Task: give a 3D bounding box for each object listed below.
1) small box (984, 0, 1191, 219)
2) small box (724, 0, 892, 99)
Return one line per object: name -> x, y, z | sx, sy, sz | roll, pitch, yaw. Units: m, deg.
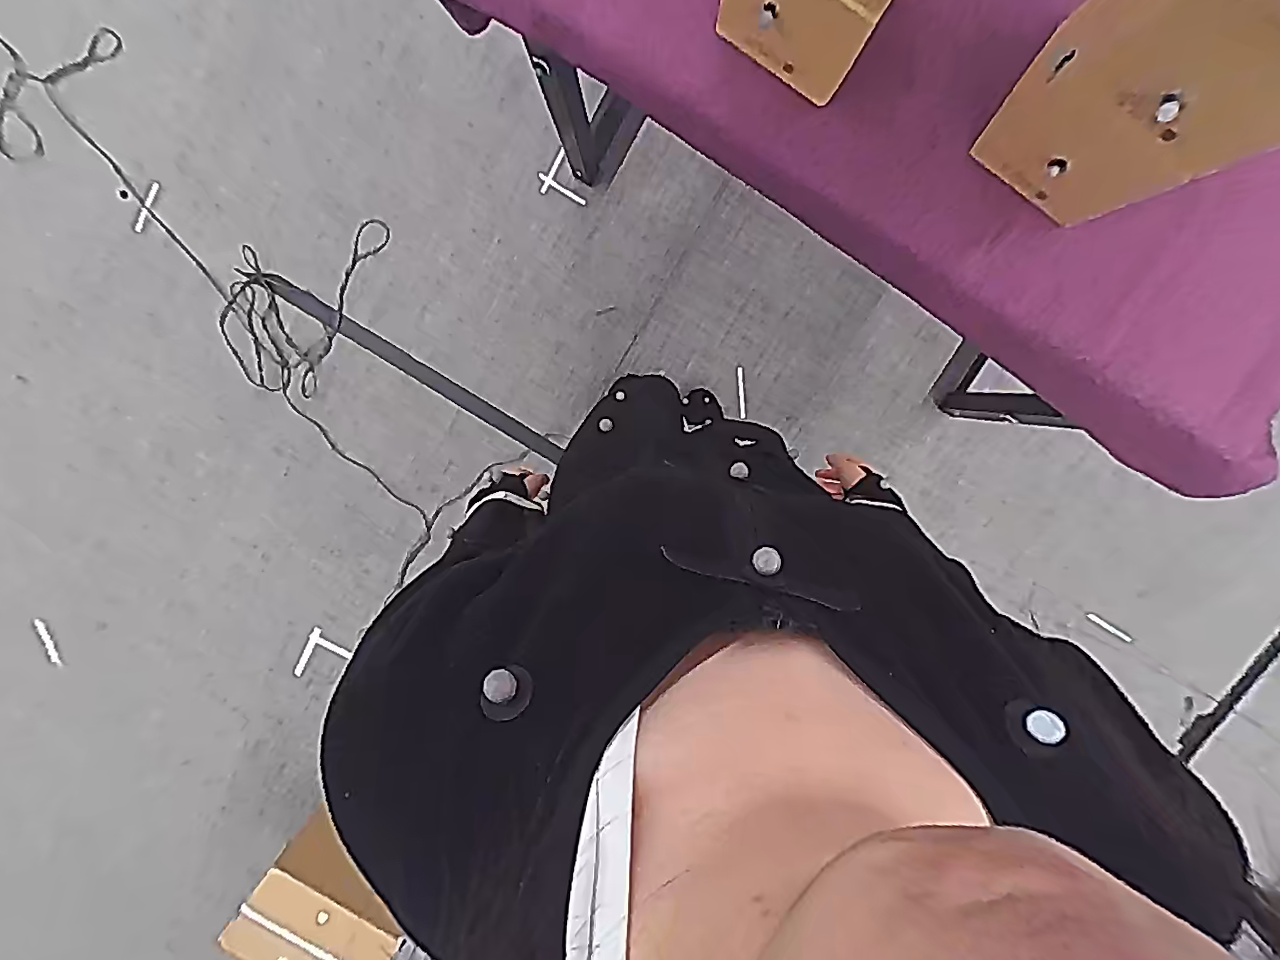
small box -> 0.532, -0.429, 0.604 | 0.168, 0.176, 0.179 | 34, 98, -5
small box -> 0.206, -0.570, 0.585 | 0.168, 0.176, 0.179 | 32, 98, -5
